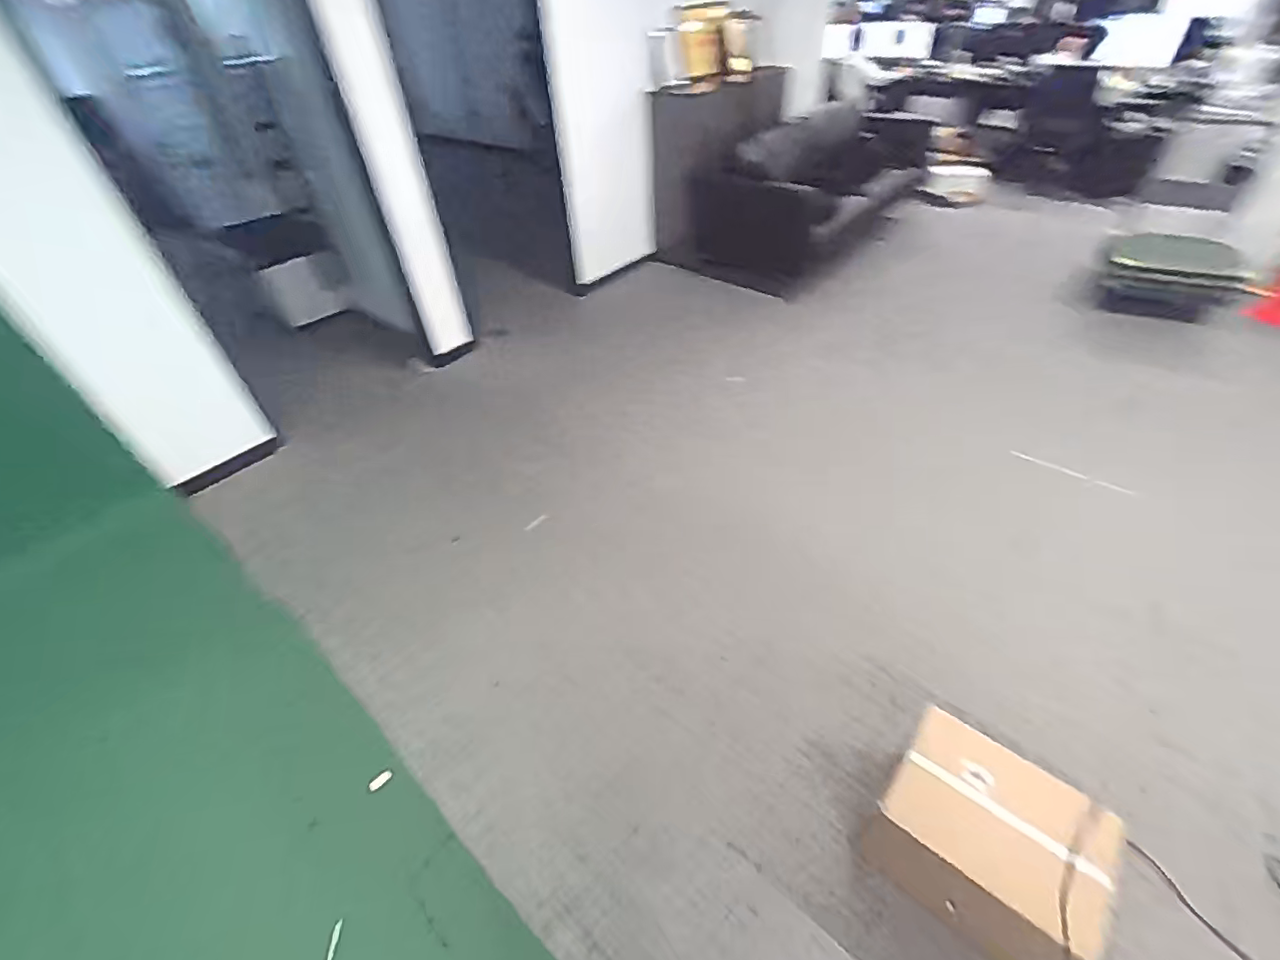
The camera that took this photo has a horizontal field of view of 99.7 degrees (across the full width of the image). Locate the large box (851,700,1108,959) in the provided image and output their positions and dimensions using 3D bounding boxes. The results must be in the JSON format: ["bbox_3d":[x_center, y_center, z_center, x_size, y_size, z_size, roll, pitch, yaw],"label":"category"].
[{"bbox_3d":[0.775,0.816,1.276,0.408,0.320,0.320,26,50,30],"label":"large box"}]
